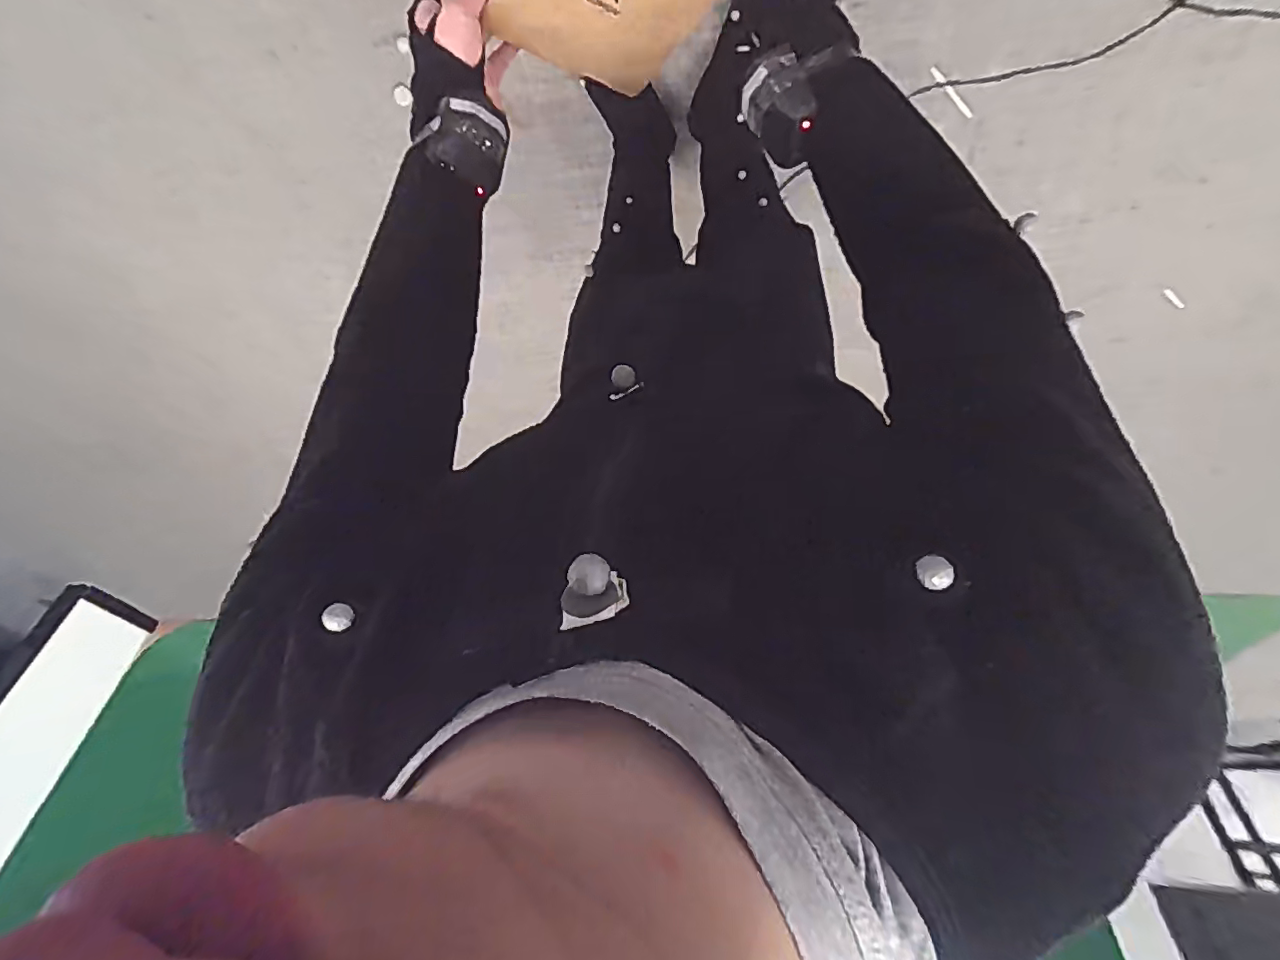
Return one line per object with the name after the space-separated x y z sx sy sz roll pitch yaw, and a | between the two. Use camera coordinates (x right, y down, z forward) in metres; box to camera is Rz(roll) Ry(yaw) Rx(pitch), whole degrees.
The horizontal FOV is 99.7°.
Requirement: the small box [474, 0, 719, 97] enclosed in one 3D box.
-0.033 -0.479 0.448 0.168 0.176 0.179 -3 179 -33 | small box
